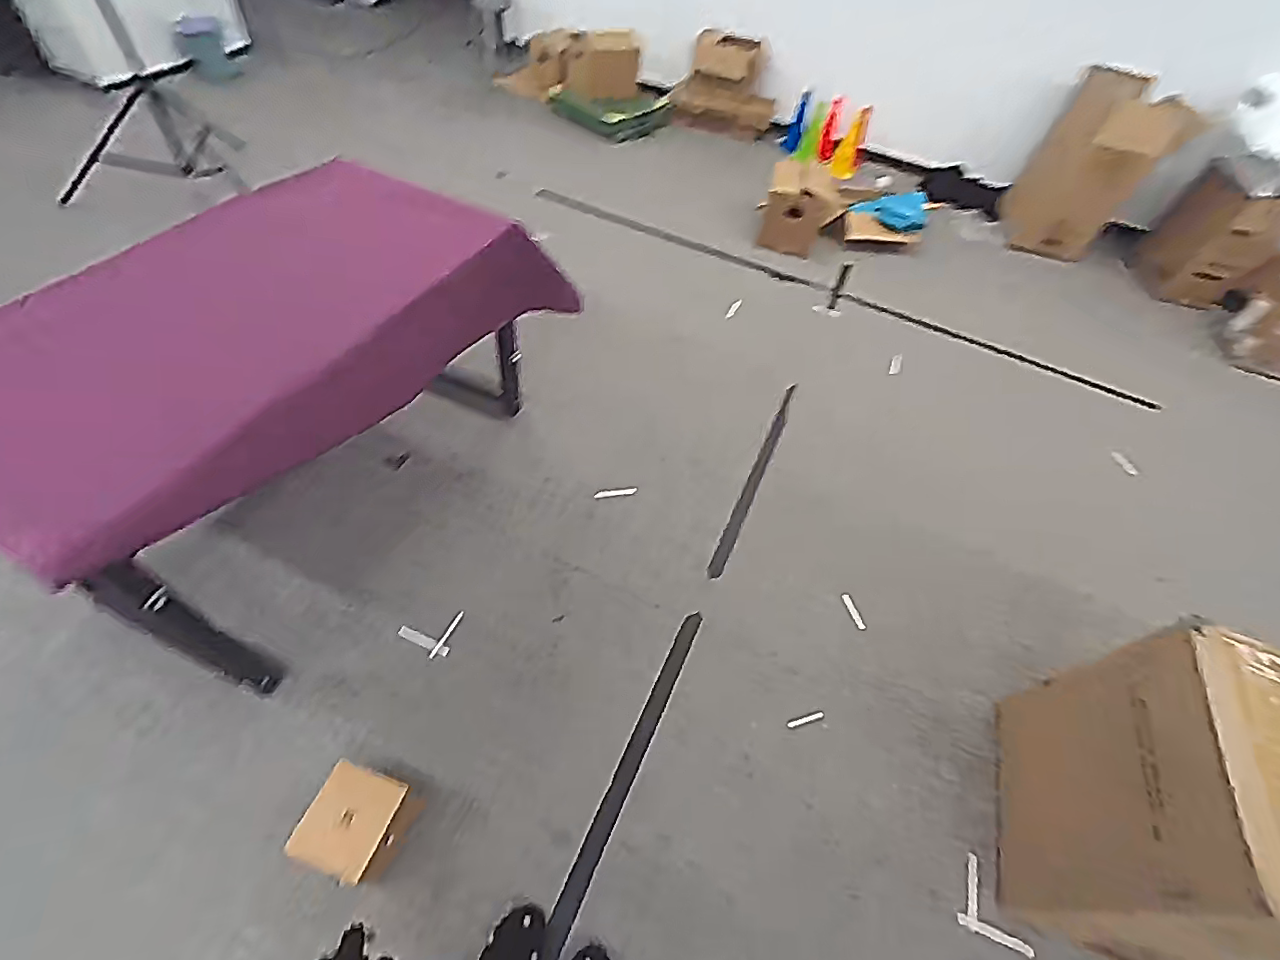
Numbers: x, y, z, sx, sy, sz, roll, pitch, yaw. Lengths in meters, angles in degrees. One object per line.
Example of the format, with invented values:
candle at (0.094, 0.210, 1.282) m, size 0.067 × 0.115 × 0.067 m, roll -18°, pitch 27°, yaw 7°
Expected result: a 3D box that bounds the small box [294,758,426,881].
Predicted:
small box at (-0.588, 0.737, 1.166) m, size 0.168 × 0.176 × 0.179 m, roll 19°, pitch 51°, yaw 5°
